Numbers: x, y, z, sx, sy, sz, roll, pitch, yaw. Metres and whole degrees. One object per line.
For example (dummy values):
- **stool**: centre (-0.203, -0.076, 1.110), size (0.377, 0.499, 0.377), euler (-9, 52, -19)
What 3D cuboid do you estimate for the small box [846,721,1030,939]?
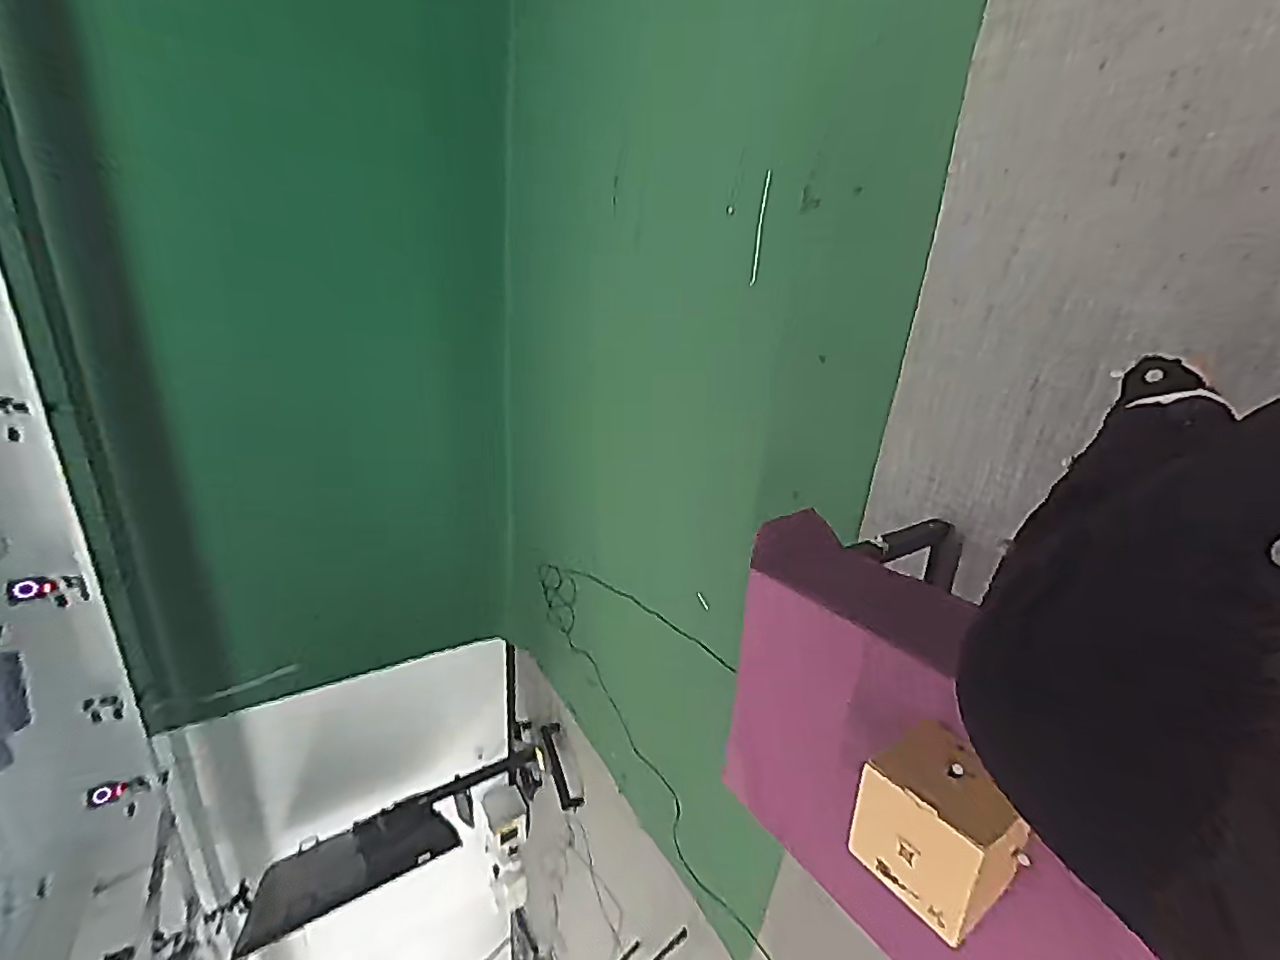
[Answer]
- **small box**: centre (0.437, 0.495, 0.796), size (0.168, 0.176, 0.179), euler (26, 119, 51)
